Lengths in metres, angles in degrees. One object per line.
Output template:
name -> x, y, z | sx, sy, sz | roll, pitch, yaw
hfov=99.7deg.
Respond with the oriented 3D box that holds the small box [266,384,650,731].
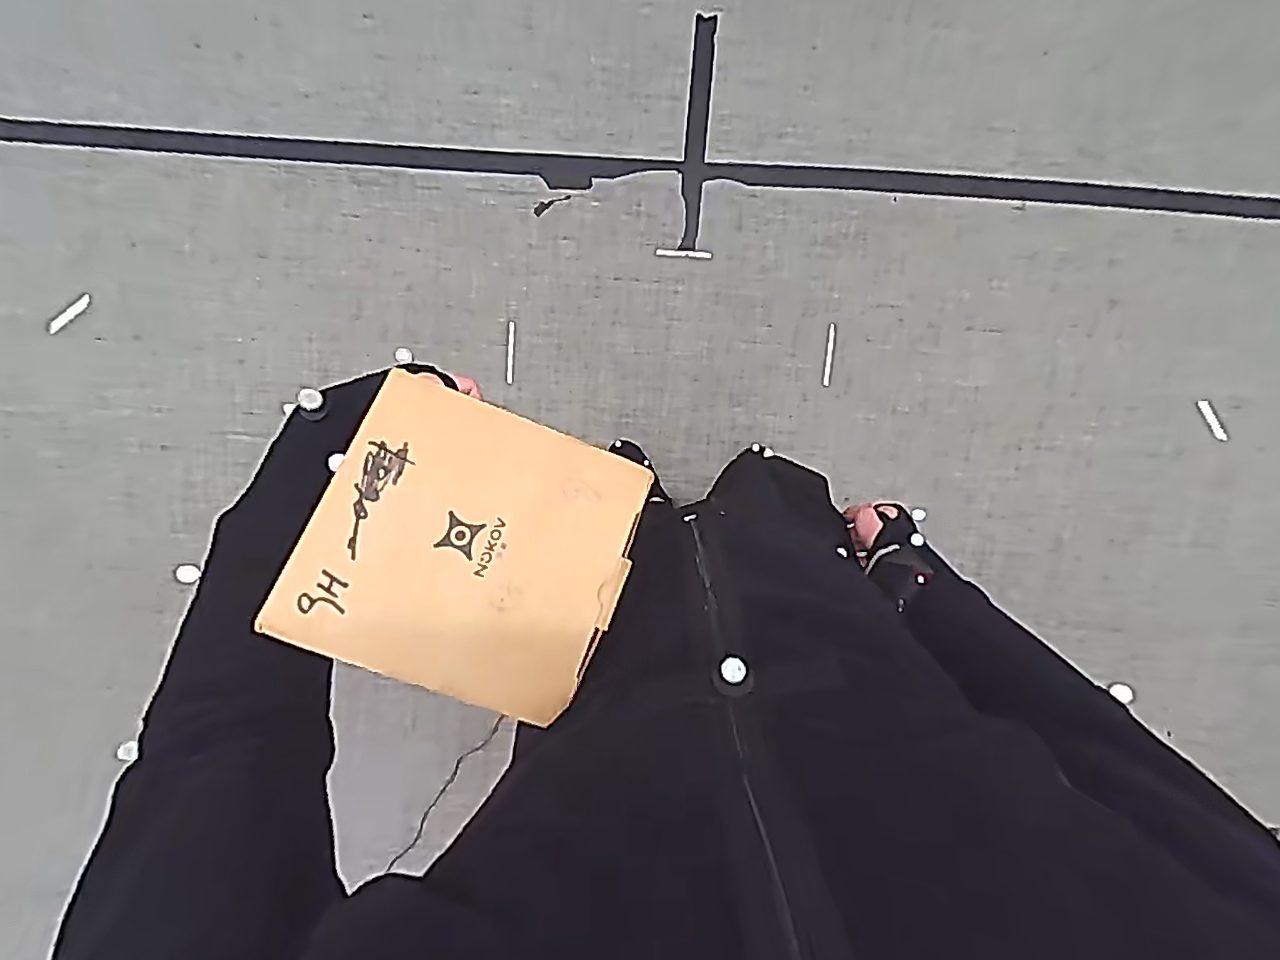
small box -> -0.116, 0.060, 0.401 | 0.179, 0.176, 0.168 | 22, 73, -8
